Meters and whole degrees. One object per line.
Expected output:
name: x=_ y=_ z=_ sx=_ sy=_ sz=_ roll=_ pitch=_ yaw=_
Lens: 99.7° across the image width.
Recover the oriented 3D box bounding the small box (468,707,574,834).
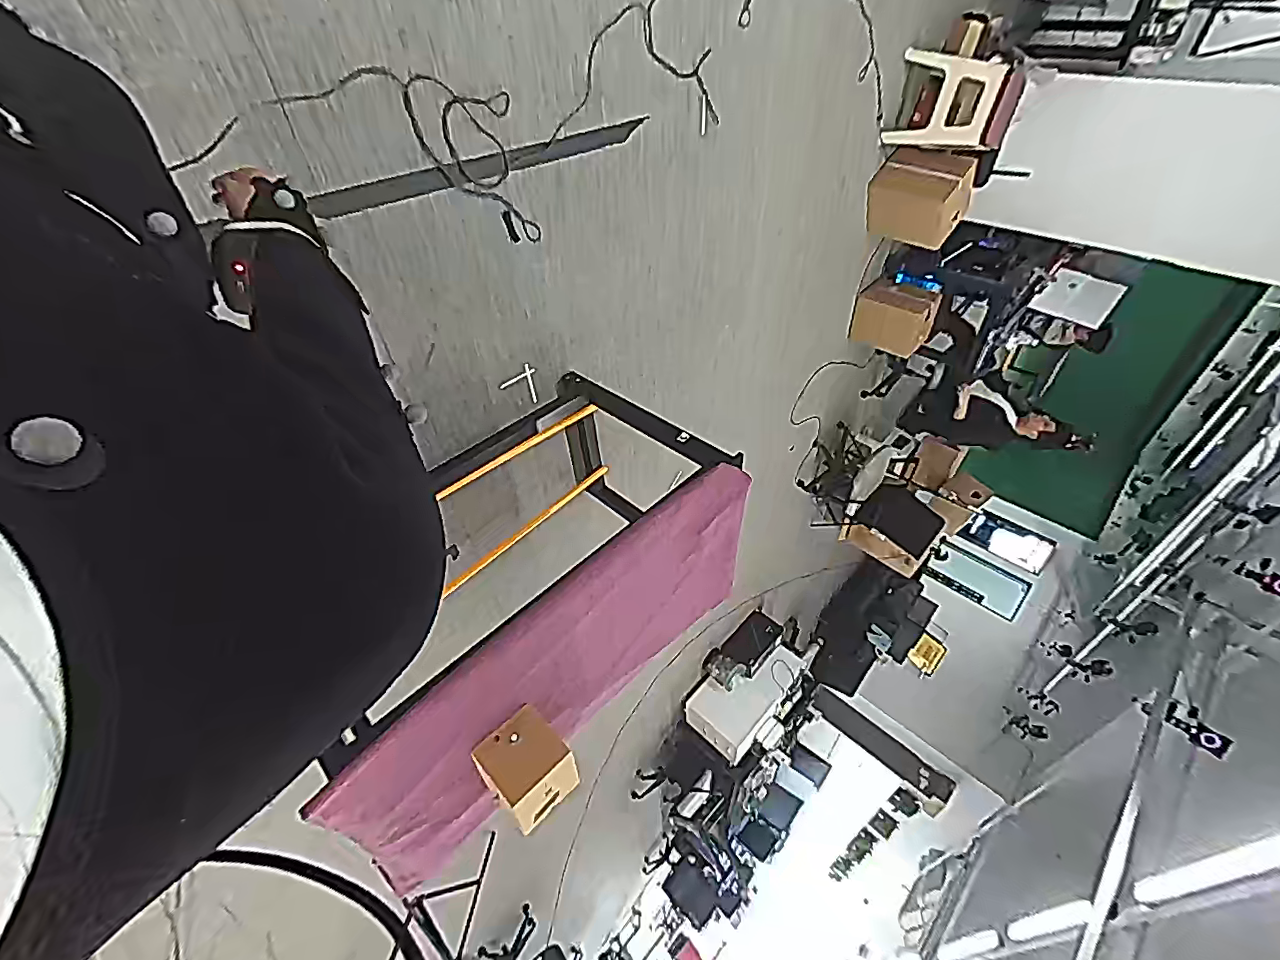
small box: x=-0.276 y=0.672 z=1.264 sx=0.168 sy=0.176 sz=0.179 roll=-34 pitch=141 yaw=-33
